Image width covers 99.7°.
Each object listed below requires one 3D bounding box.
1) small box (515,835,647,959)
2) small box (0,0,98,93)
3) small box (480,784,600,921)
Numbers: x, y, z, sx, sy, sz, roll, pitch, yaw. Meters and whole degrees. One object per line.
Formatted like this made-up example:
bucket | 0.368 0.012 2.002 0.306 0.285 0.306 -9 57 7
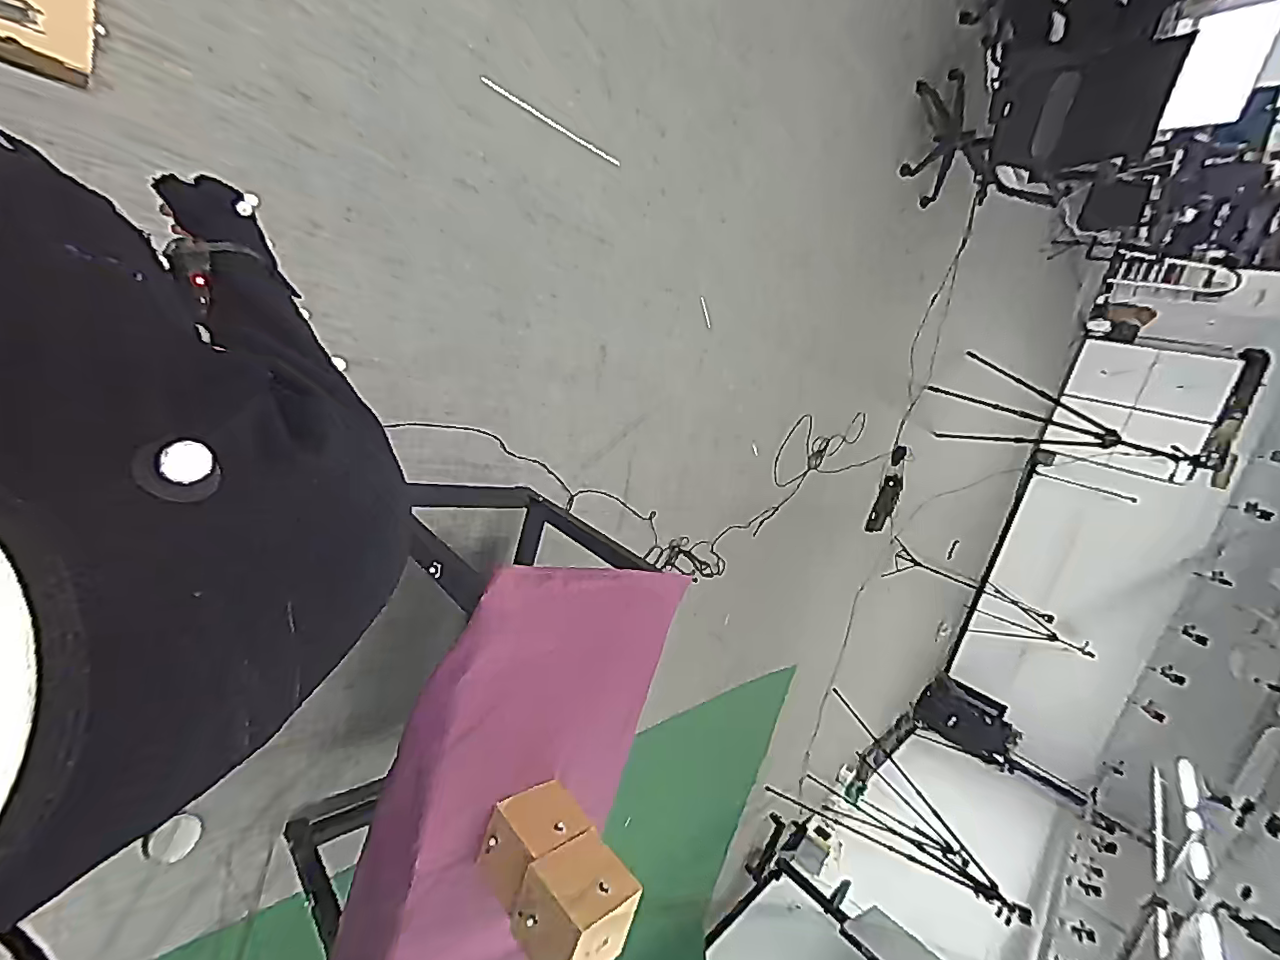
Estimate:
small box | -0.121 0.870 1.093 0.179 0.176 0.168 8 102 -48
small box | -0.936 -0.724 0.814 0.168 0.176 0.179 1 107 -47
small box | -0.226 0.824 1.212 0.179 0.176 0.168 10 100 -48
